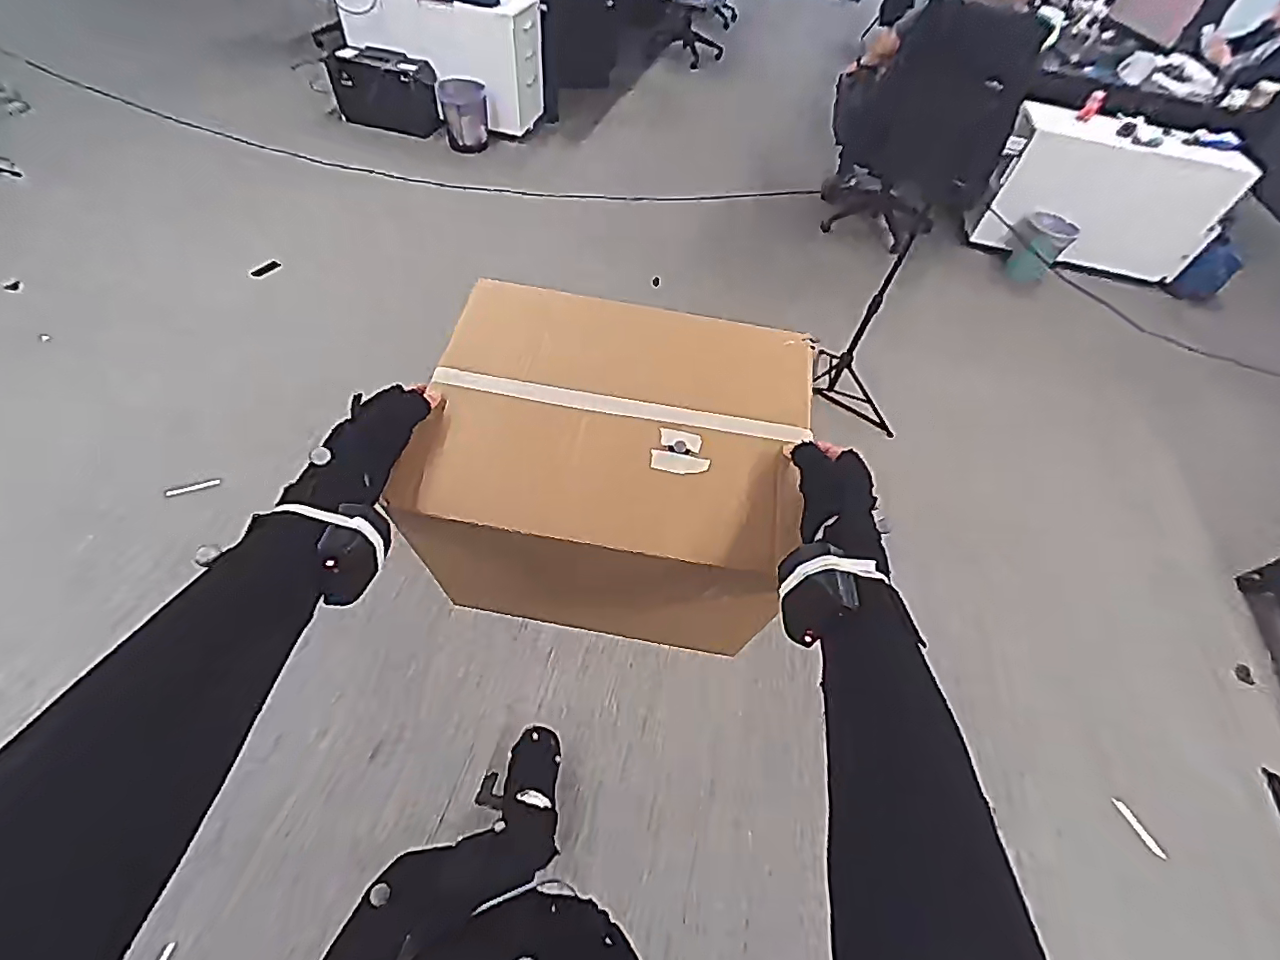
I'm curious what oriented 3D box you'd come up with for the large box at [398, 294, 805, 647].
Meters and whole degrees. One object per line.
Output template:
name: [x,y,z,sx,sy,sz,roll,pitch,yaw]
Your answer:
large box: [-0.031,0.005,0.718,0.408,0.320,0.320,10,60,0]
